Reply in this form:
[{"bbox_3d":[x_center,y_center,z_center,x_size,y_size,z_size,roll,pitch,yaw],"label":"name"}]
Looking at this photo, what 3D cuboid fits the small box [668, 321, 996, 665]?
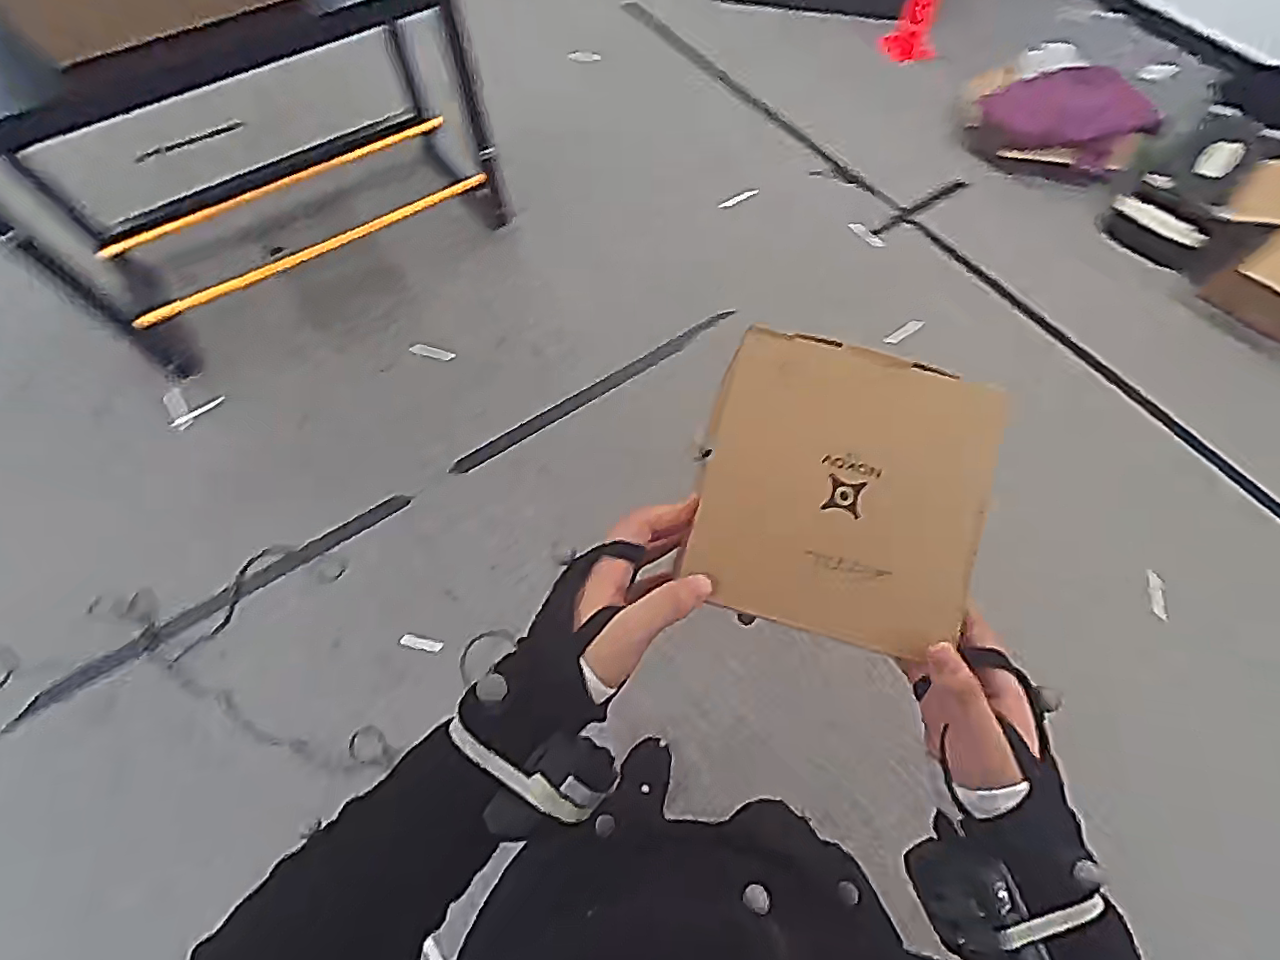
[{"bbox_3d":[0.119,0.013,0.403,0.168,0.176,0.179,15,84,3],"label":"small box"}]
